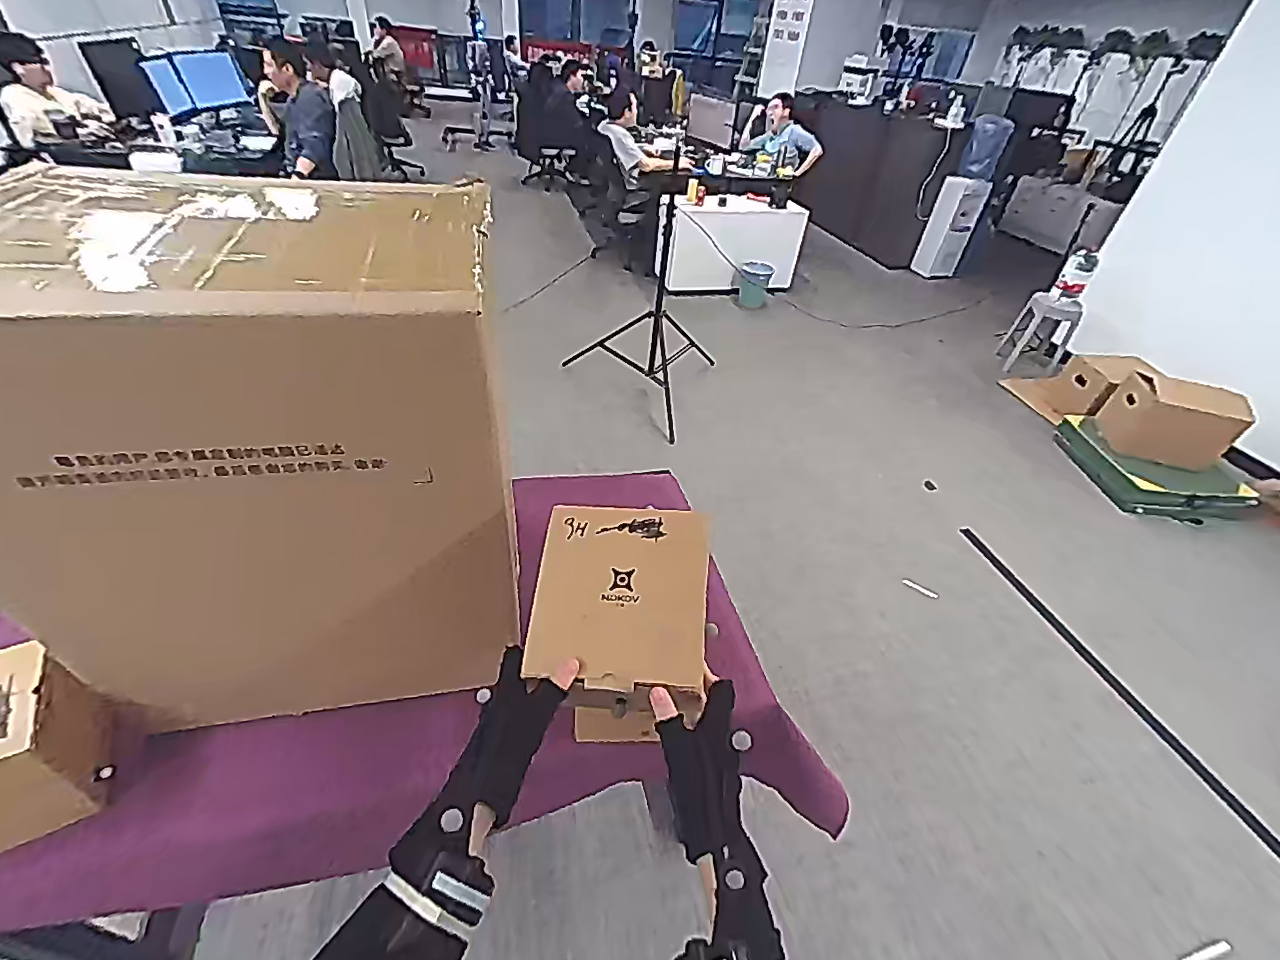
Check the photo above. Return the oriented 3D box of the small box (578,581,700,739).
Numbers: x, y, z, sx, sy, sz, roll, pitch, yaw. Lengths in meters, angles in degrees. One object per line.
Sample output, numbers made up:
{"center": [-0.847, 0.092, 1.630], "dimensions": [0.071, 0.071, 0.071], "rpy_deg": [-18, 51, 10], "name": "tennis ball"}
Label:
{"center": [-0.009, 0.276, 0.824], "dimensions": [0.168, 0.176, 0.179], "rpy_deg": [2, 38, -6], "name": "small box"}
